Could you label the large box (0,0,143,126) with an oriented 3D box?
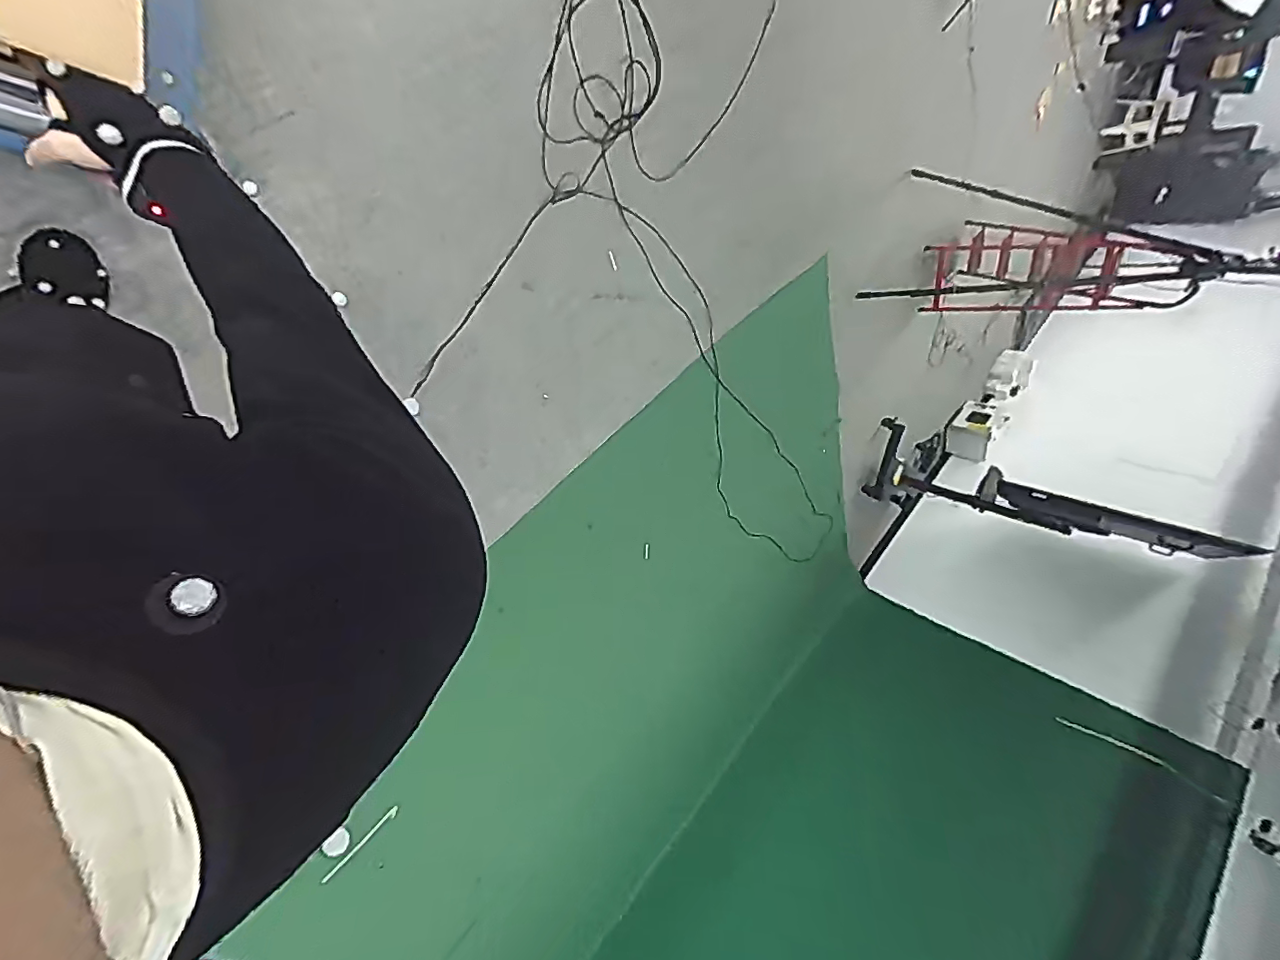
[{"bbox_3d":[-0.895,-0.772,0.722,0.320,0.320,0.408,-4,110,-46],"label":"large box"}]
